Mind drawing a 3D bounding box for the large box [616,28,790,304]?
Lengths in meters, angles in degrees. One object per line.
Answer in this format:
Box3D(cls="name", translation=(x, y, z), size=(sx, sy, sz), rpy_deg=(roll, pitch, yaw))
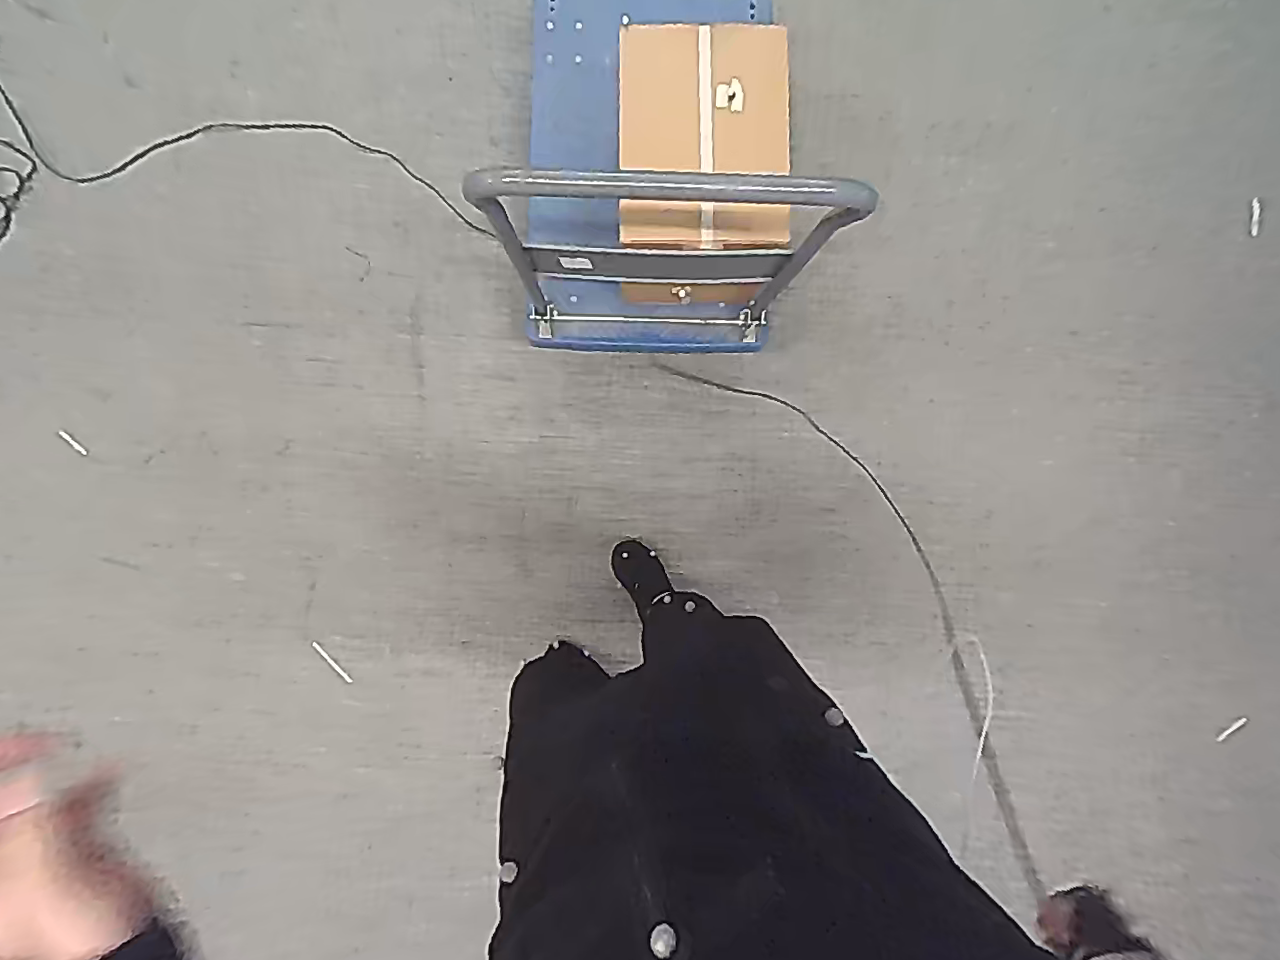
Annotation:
Box3D(cls="large box", translation=(0.113, -0.618, 1.131), size=(0.320, 0.320, 0.408), rpy_deg=(0, 88, -2))
